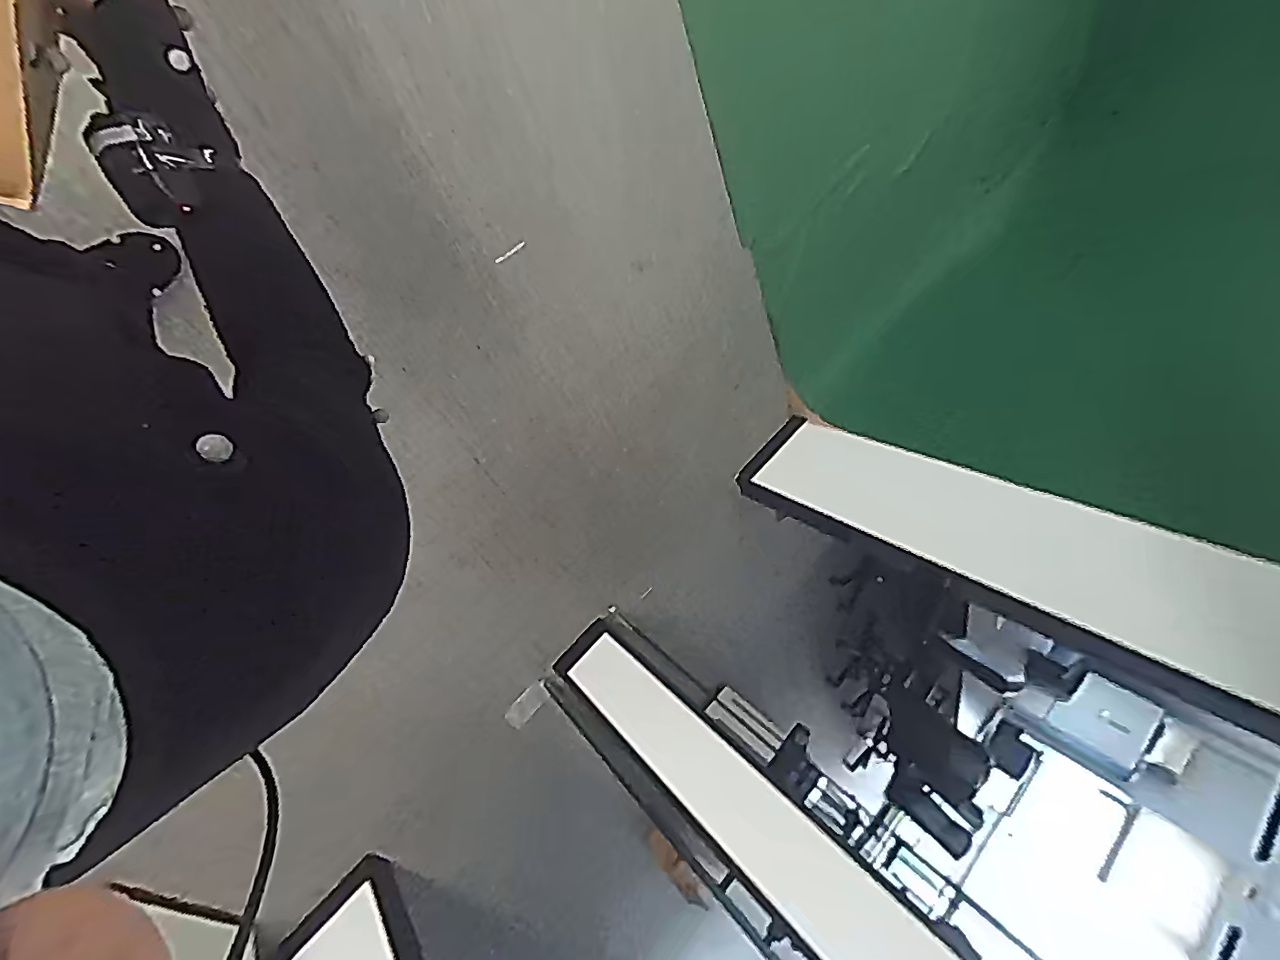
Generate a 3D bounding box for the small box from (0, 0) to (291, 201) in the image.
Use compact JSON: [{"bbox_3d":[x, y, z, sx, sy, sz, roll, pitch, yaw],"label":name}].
[{"bbox_3d":[-0.371,-0.331,0.338,0.176,0.168,0.179,-45,162,7],"label":"small box"}]
